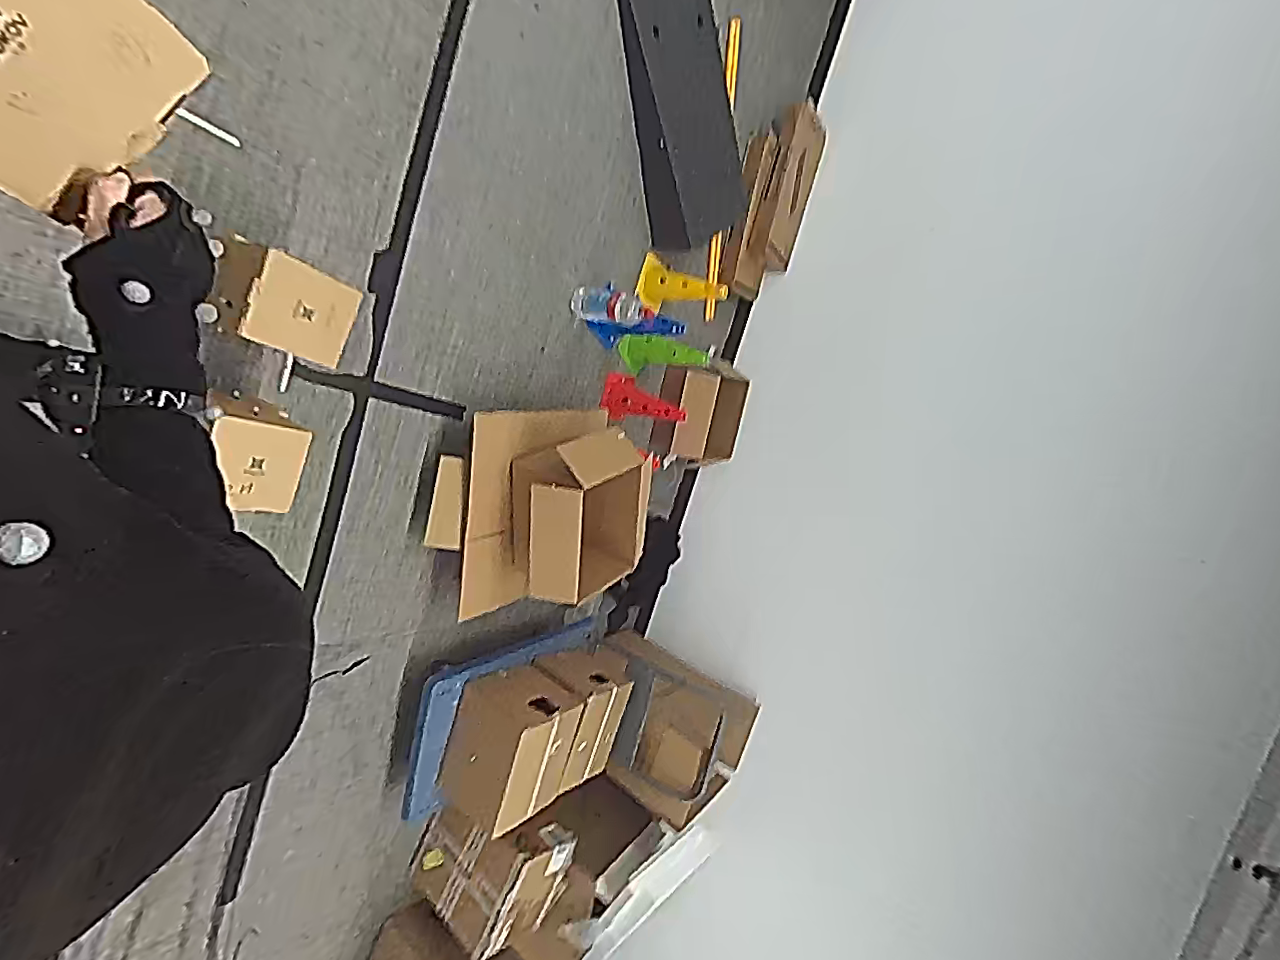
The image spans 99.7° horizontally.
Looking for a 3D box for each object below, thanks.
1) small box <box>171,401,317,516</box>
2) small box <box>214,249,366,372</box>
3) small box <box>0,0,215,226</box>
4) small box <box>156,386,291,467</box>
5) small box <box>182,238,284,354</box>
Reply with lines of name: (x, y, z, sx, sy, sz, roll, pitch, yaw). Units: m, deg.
small box: (-0.783, -0.043, 1.066, 0.168, 0.176, 0.179, 14, 96, -57)
small box: (-0.684, -0.331, 1.056, 0.179, 0.176, 0.168, 19, 93, -59)
small box: (-0.454, -0.318, 0.359, 0.168, 0.176, 0.179, -53, 157, -4)
small box: (-0.902, -0.095, 1.168, 0.179, 0.176, 0.168, 10, 100, -58)
small box: (-0.816, -0.385, 1.135, 0.168, 0.176, 0.179, 22, 89, -58)
